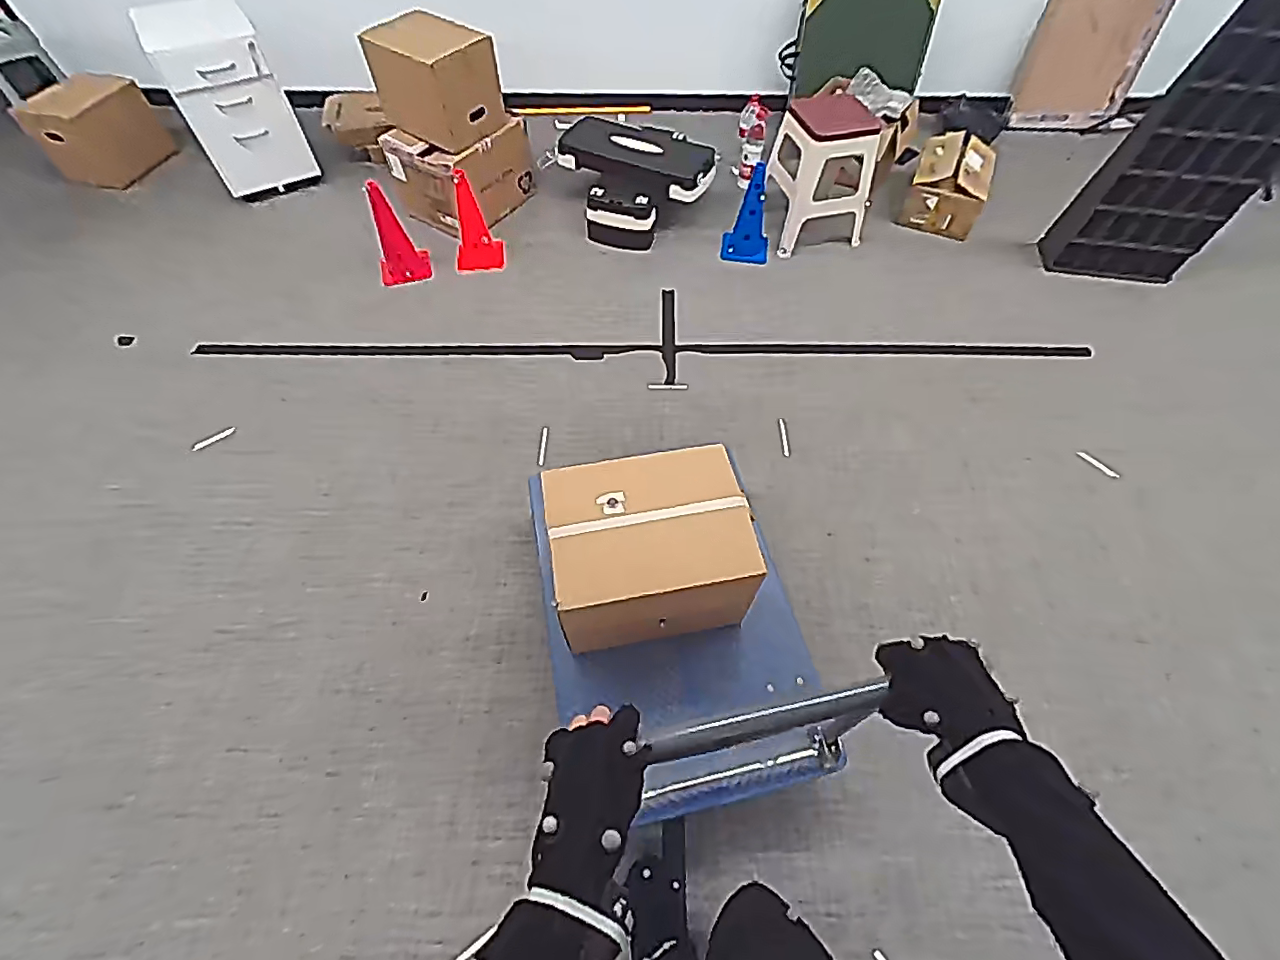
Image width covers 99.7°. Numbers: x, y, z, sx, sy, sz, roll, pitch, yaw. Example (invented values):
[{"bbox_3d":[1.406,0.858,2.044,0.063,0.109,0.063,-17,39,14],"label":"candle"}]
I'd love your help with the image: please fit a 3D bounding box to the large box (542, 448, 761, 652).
[{"bbox_3d":[0.015,0.167,1.228,0.408,0.320,0.320,-10,58,-6],"label":"large box"}]
